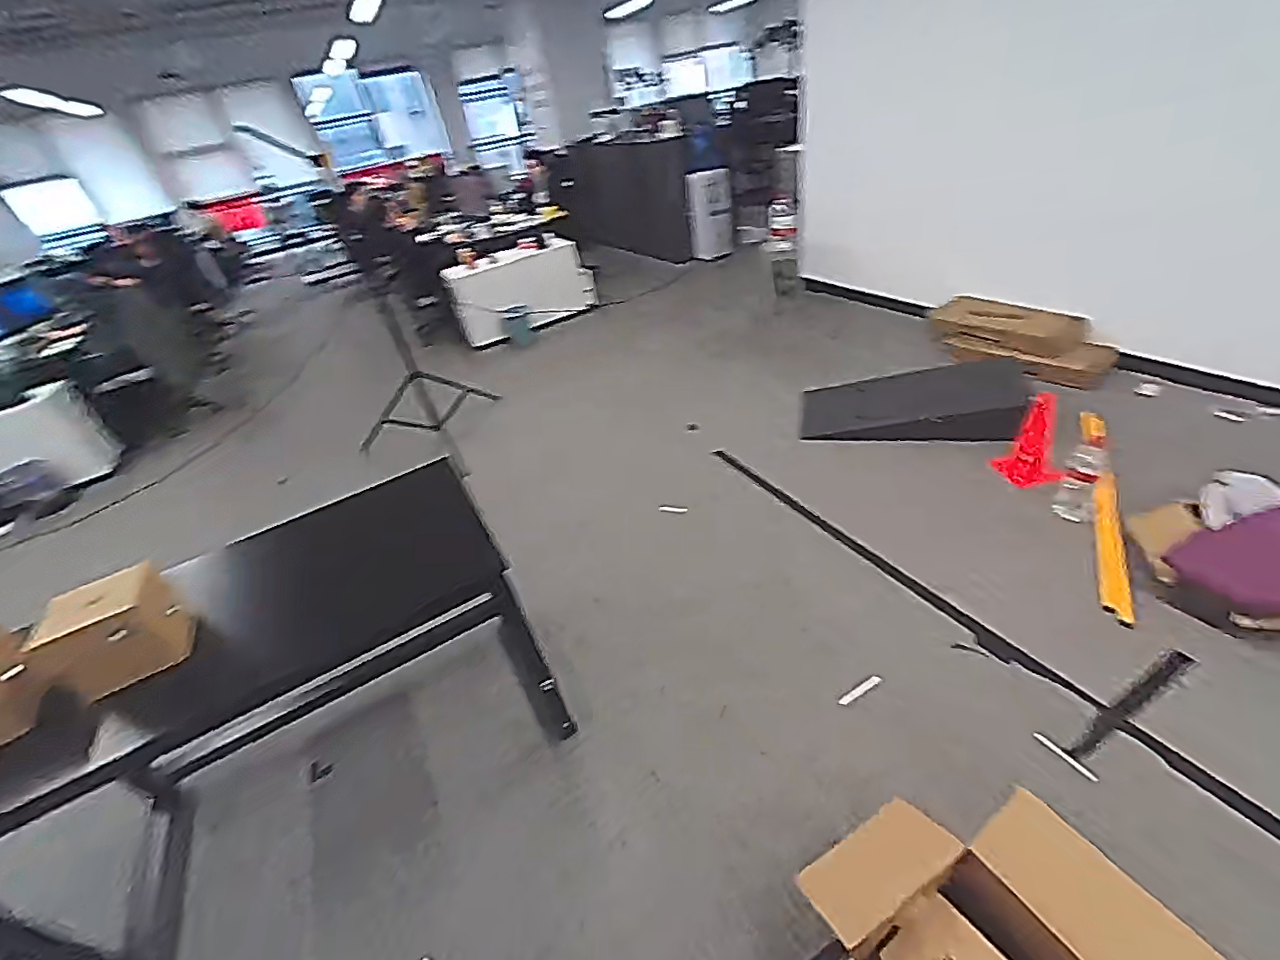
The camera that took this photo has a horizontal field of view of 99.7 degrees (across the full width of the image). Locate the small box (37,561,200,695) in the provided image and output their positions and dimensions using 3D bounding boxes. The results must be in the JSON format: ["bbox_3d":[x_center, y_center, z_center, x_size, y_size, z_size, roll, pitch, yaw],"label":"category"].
[{"bbox_3d":[-1.082,0.311,1.145,0.179,0.176,0.168,-25,37,-19],"label":"small box"}]

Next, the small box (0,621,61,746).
[{"bbox_3d":[-1.310,0.421,1.060,0.168,0.176,0.179,-27,39,-20],"label":"small box"}]
